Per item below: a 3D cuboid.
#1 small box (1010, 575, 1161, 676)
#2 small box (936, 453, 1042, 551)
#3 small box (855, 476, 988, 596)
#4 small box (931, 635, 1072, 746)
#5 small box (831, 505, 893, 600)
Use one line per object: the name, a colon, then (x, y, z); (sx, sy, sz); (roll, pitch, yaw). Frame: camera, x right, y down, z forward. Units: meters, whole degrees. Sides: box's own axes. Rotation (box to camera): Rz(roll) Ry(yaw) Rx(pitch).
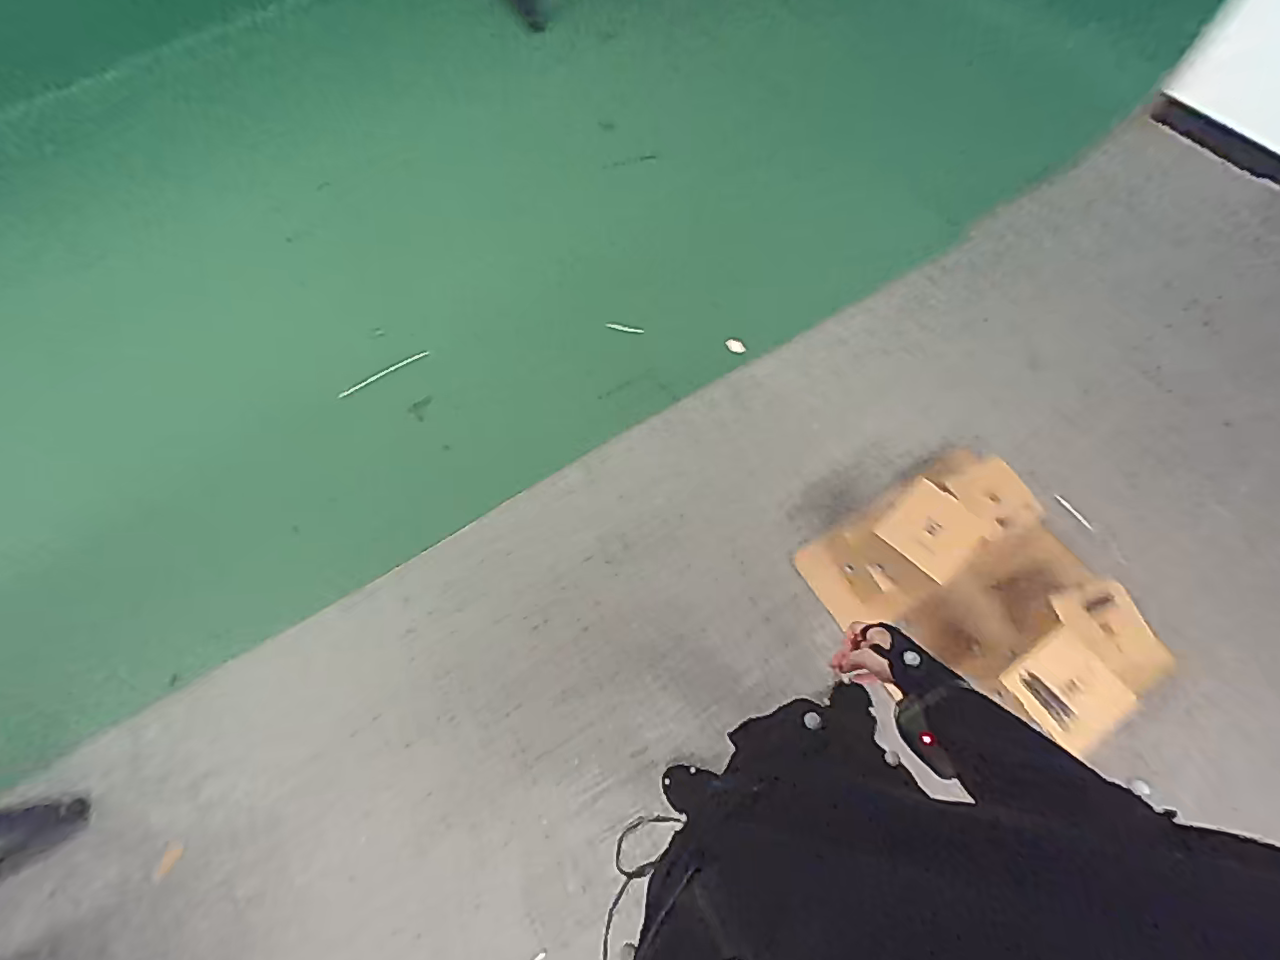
small box: (1.005, 0.340, 1.243); (0.168, 0.176, 0.179); (-16, 68, -2)
small box: (0.850, 0.066, 1.376); (0.168, 0.176, 0.179); (-25, 67, -6)
small box: (0.607, 0.129, 1.192); (0.179, 0.176, 0.168); (-43, 70, -12)
small box: (0.787, 0.470, 1.208); (0.179, 0.176, 0.168); (-27, 68, -7)
small box: (0.600, 0.182, 1.348); (0.179, 0.176, 0.168); (-26, 69, -7)
